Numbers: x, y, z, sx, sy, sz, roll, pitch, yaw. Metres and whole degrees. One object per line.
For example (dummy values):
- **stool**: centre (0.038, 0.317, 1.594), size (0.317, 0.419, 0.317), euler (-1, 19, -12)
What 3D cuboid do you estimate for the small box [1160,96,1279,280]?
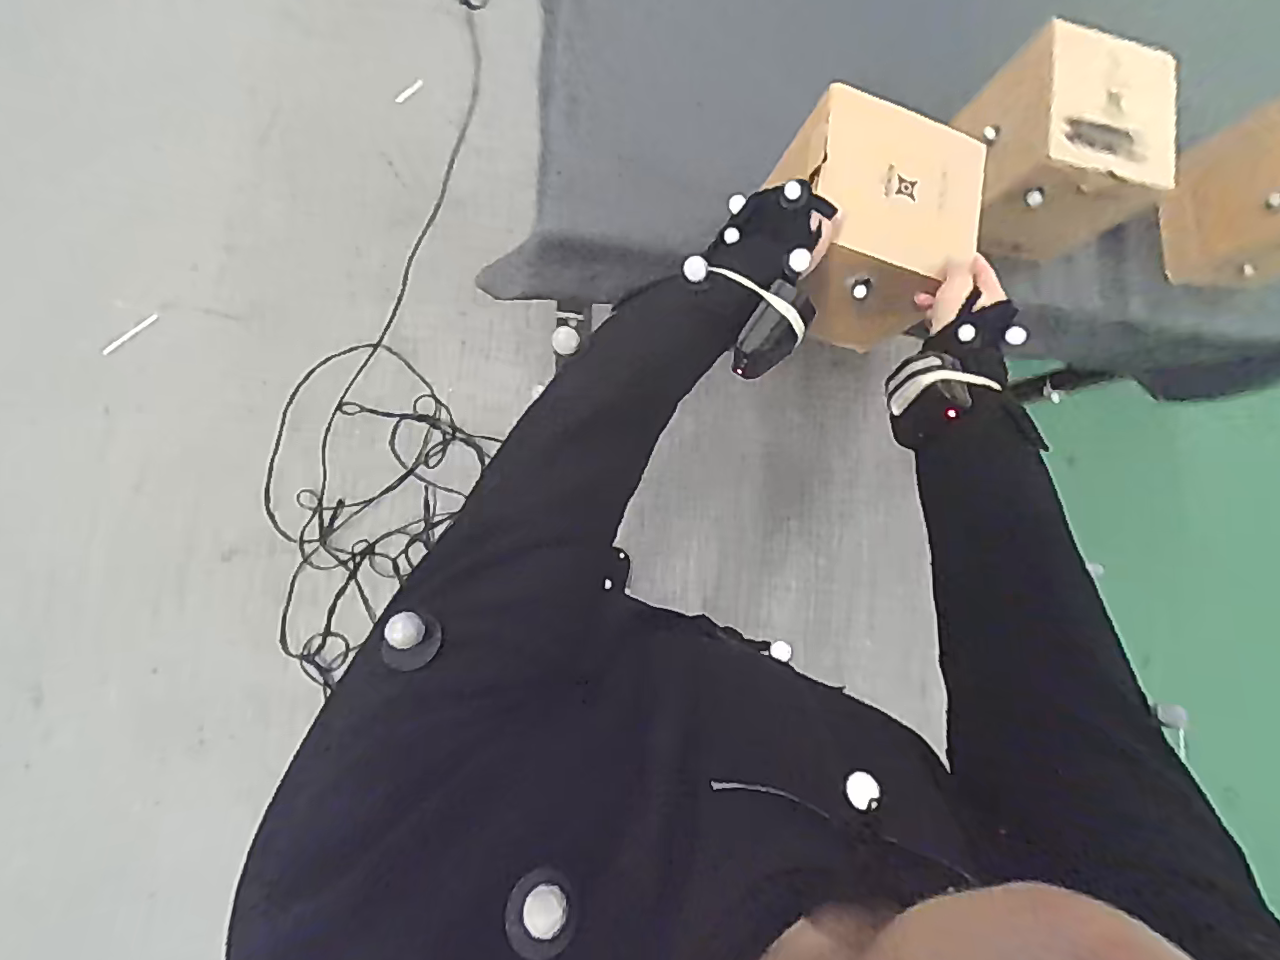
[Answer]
- **small box**: centre (0.870, -0.399, 0.741), size (0.168, 0.176, 0.179), euler (-1, 86, -9)

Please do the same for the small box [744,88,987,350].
- **small box**: centre (0.231, -0.261, 0.586), size (0.179, 0.176, 0.168), euler (13, 79, -12)
